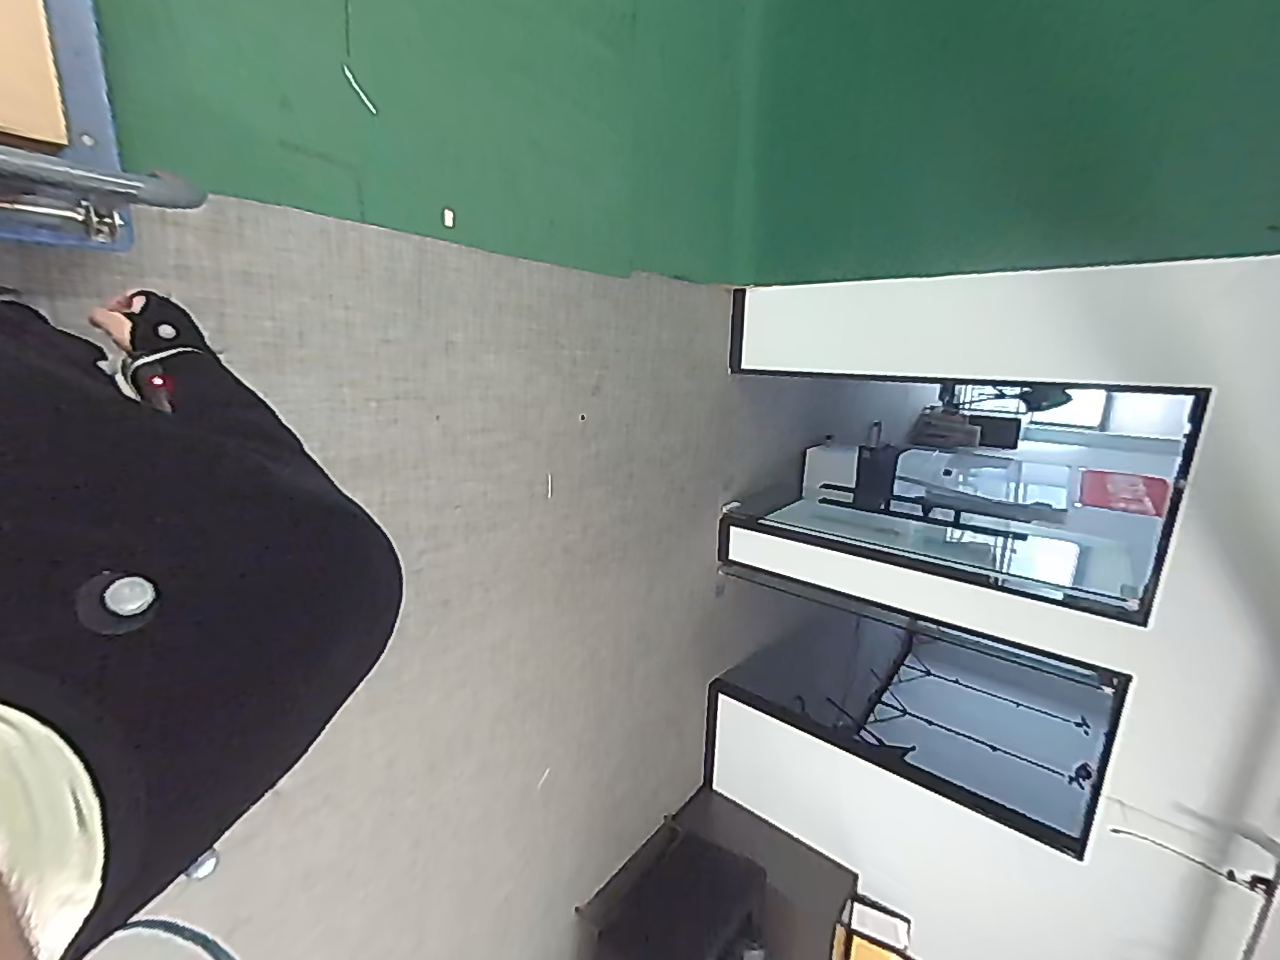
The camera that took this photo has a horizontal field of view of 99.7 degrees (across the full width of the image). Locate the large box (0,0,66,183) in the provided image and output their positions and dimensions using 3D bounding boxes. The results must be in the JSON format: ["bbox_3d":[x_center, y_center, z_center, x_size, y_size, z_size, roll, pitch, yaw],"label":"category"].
[{"bbox_3d":[-1.041,-0.668,0.712,0.320,0.320,0.408,-16,110,-50],"label":"large box"}]
